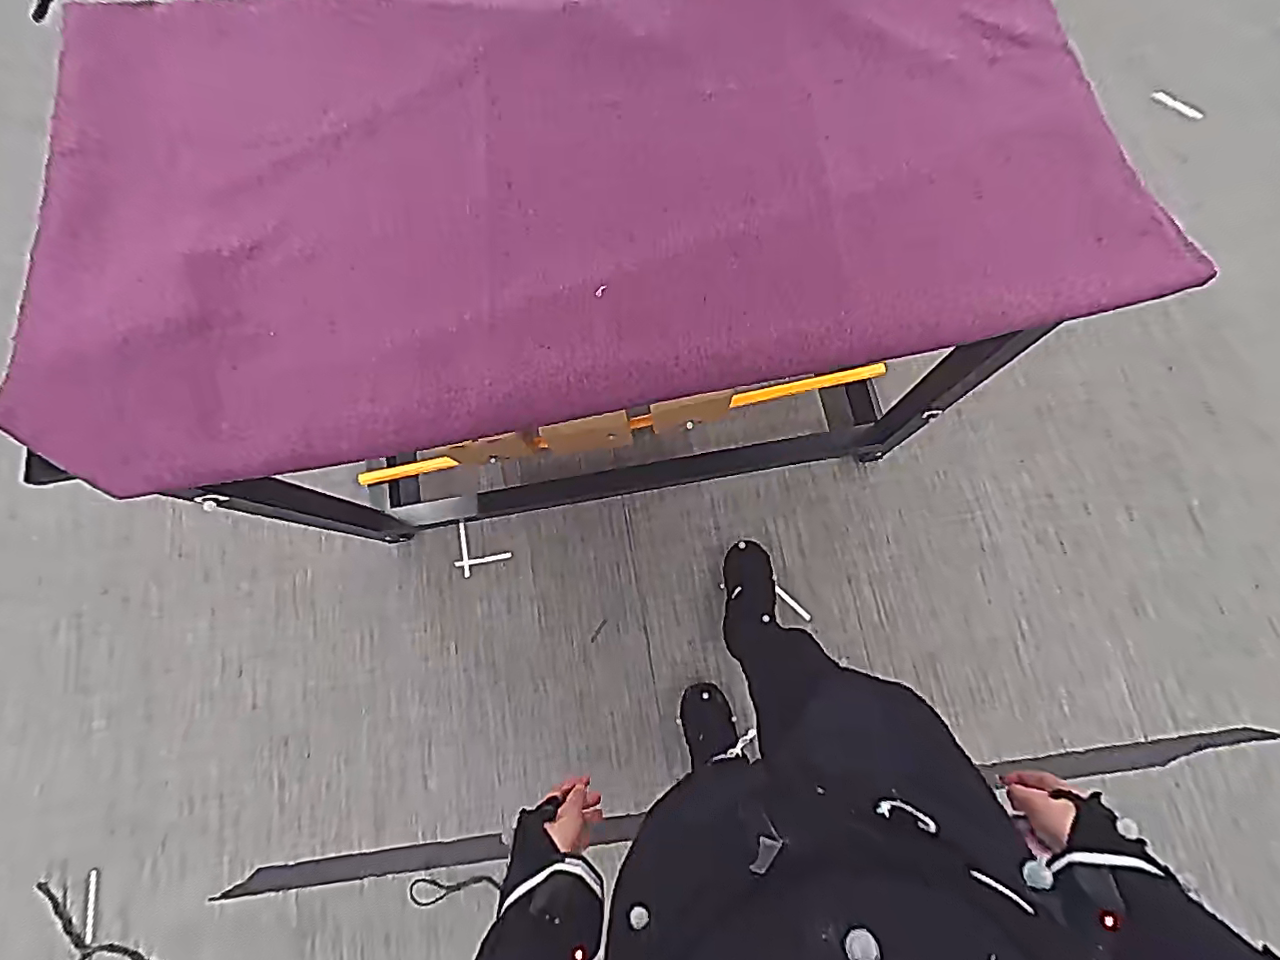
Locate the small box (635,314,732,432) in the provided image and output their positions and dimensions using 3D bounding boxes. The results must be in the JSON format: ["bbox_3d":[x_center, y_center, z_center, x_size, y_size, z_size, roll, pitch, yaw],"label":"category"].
[{"bbox_3d":[0.088,-0.216,1.132,0.168,0.176,0.179,-12,80,2],"label":"small box"}]

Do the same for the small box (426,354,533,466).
[{"bbox_3d":[-0.331,-0.141,1.140,0.168,0.176,0.179,-10,80,1],"label":"small box"}]
